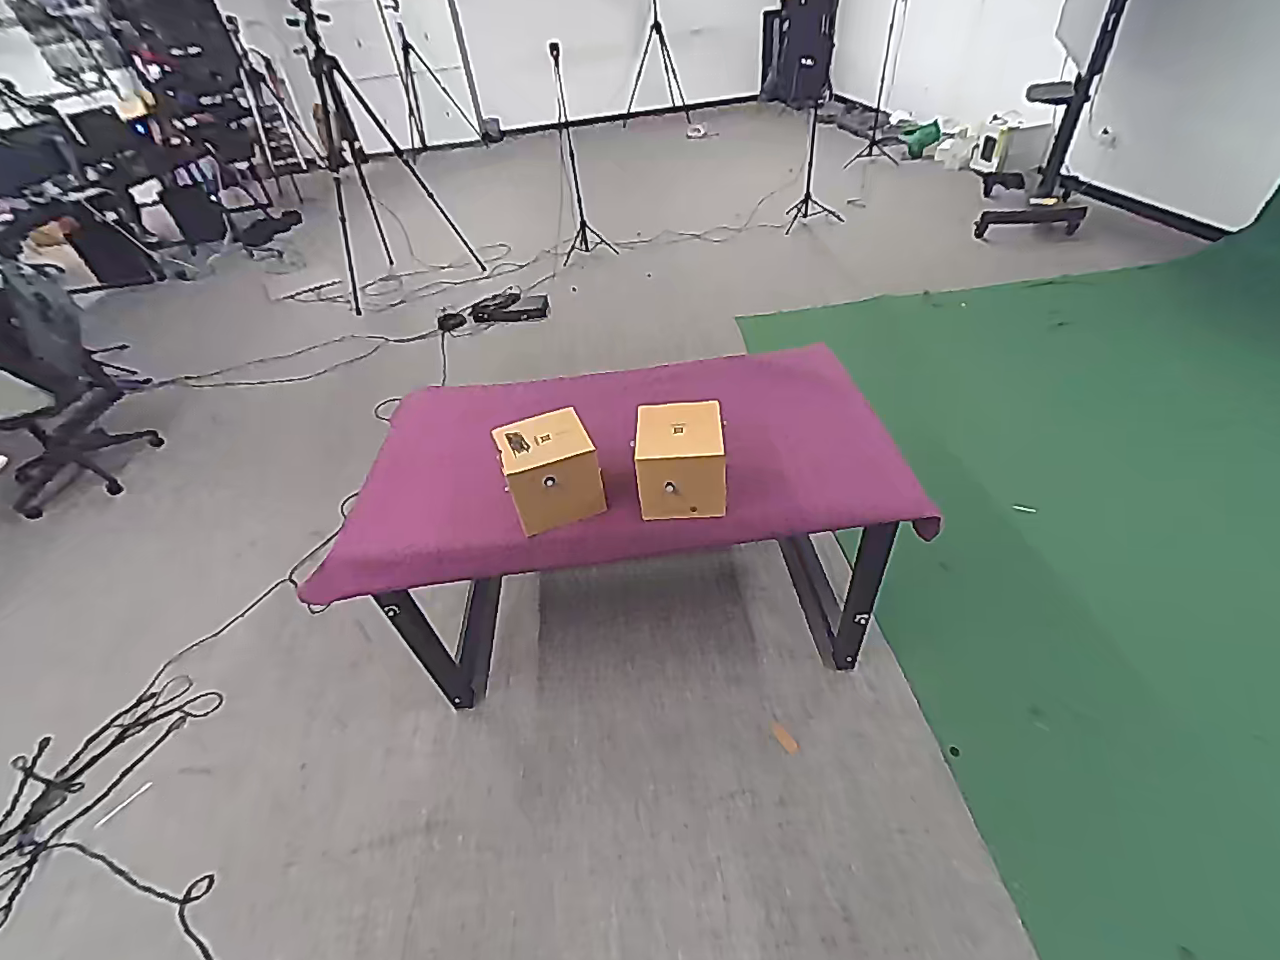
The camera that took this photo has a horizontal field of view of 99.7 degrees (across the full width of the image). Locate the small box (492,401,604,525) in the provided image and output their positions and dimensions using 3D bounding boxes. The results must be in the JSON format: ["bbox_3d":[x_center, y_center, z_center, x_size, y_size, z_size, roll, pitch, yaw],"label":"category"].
[{"bbox_3d":[-0.187,-0.033,1.112,0.179,0.176,0.168,-17,42,-12],"label":"small box"}]

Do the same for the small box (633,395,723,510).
[{"bbox_3d":[0.080,-0.051,1.096,0.168,0.176,0.179,-3,42,5],"label":"small box"}]
